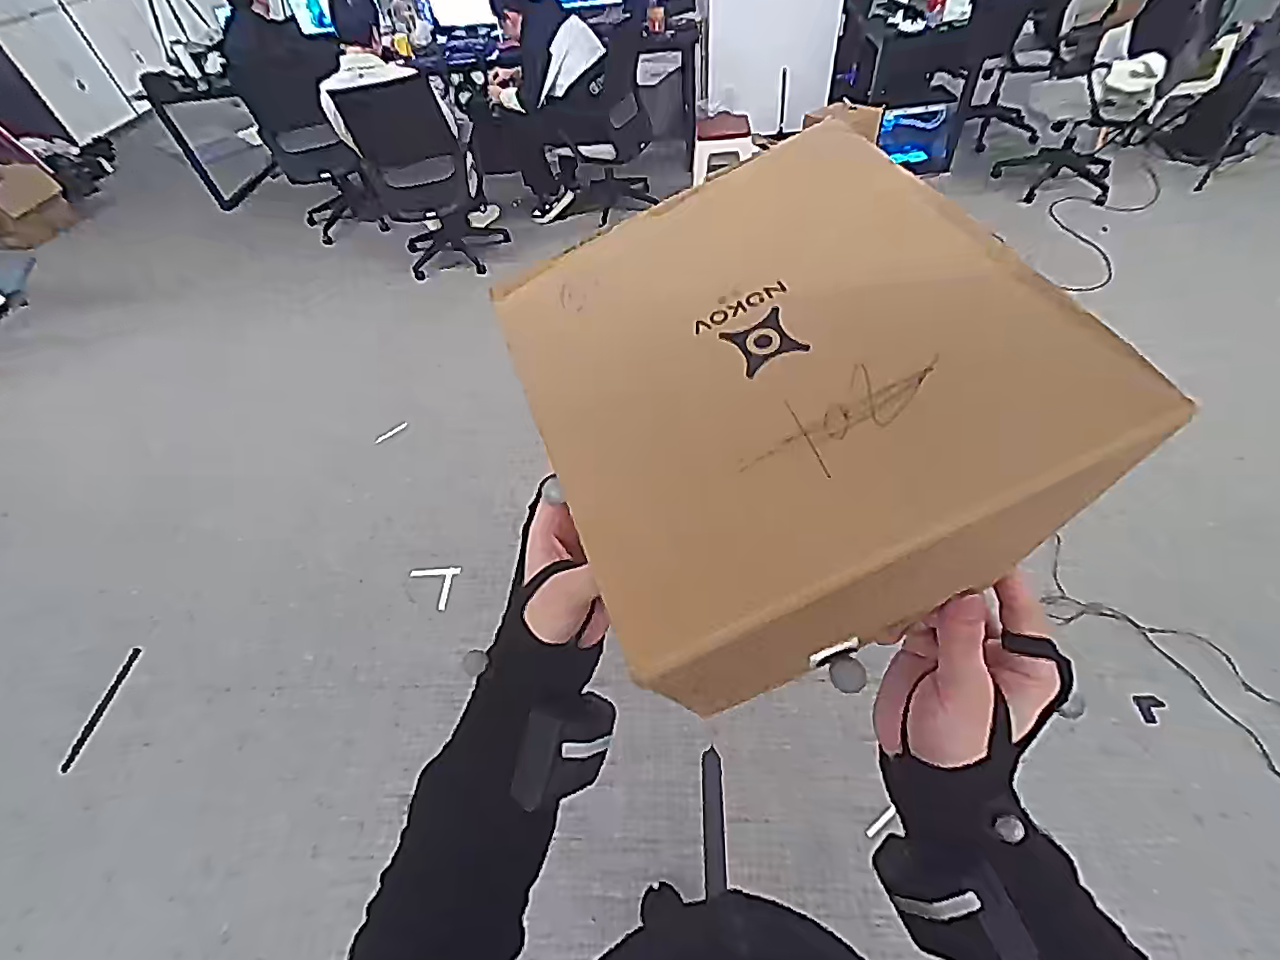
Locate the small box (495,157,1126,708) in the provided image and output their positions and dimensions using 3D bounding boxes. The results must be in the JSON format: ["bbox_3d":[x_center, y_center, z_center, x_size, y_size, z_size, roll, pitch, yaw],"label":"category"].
[{"bbox_3d":[0.057,-0.007,0.269,0.168,0.176,0.179,-27,60,1],"label":"small box"}]
